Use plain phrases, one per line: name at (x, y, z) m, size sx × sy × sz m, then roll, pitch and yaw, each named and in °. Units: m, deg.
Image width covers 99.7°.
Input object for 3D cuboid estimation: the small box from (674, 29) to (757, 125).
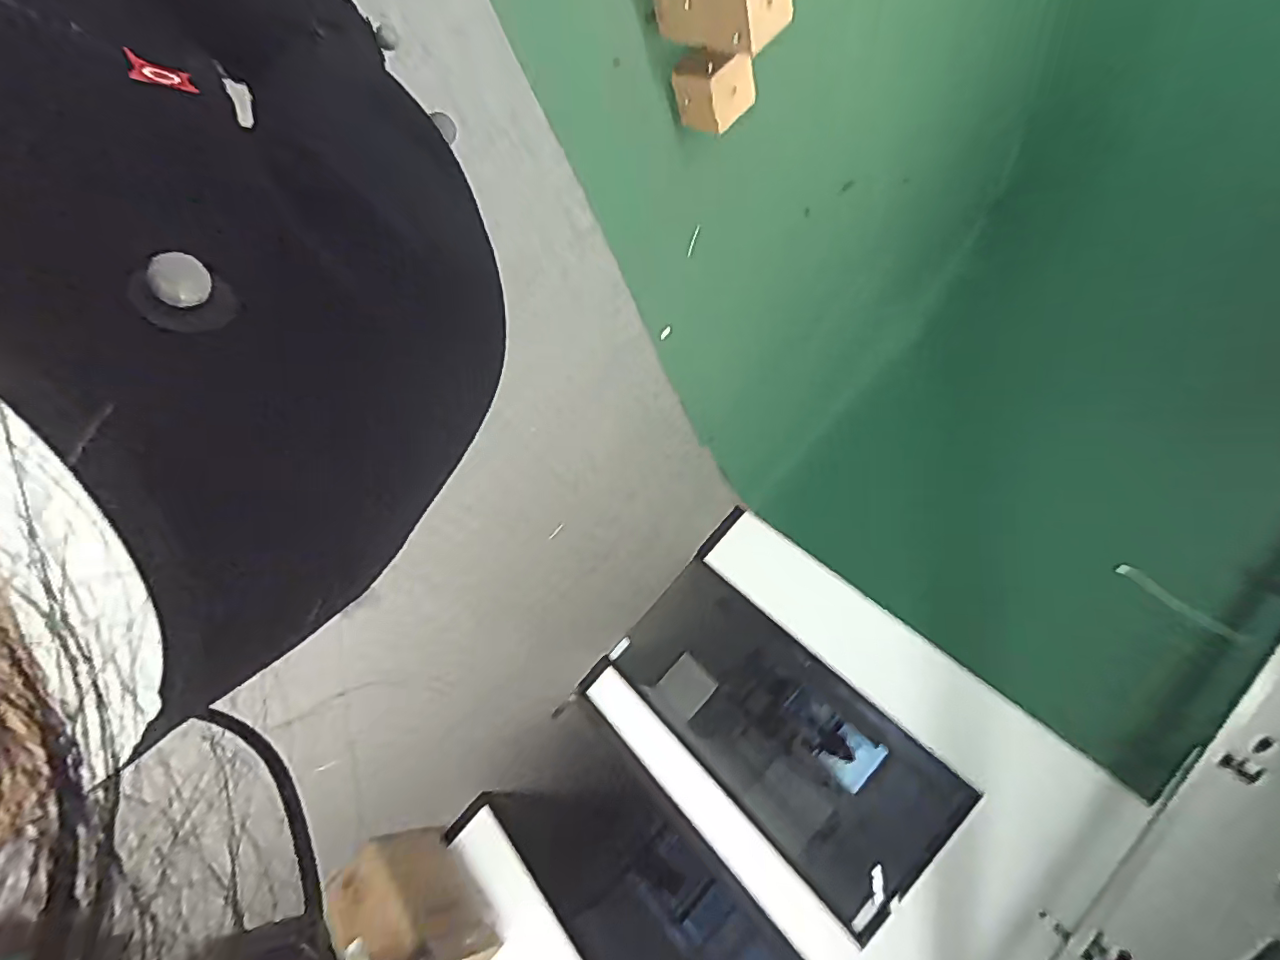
small box at (0.236, -1.254, 1.677) m, size 0.179 × 0.176 × 0.168 m, roll -47°, pitch 148°, yaw -6°
